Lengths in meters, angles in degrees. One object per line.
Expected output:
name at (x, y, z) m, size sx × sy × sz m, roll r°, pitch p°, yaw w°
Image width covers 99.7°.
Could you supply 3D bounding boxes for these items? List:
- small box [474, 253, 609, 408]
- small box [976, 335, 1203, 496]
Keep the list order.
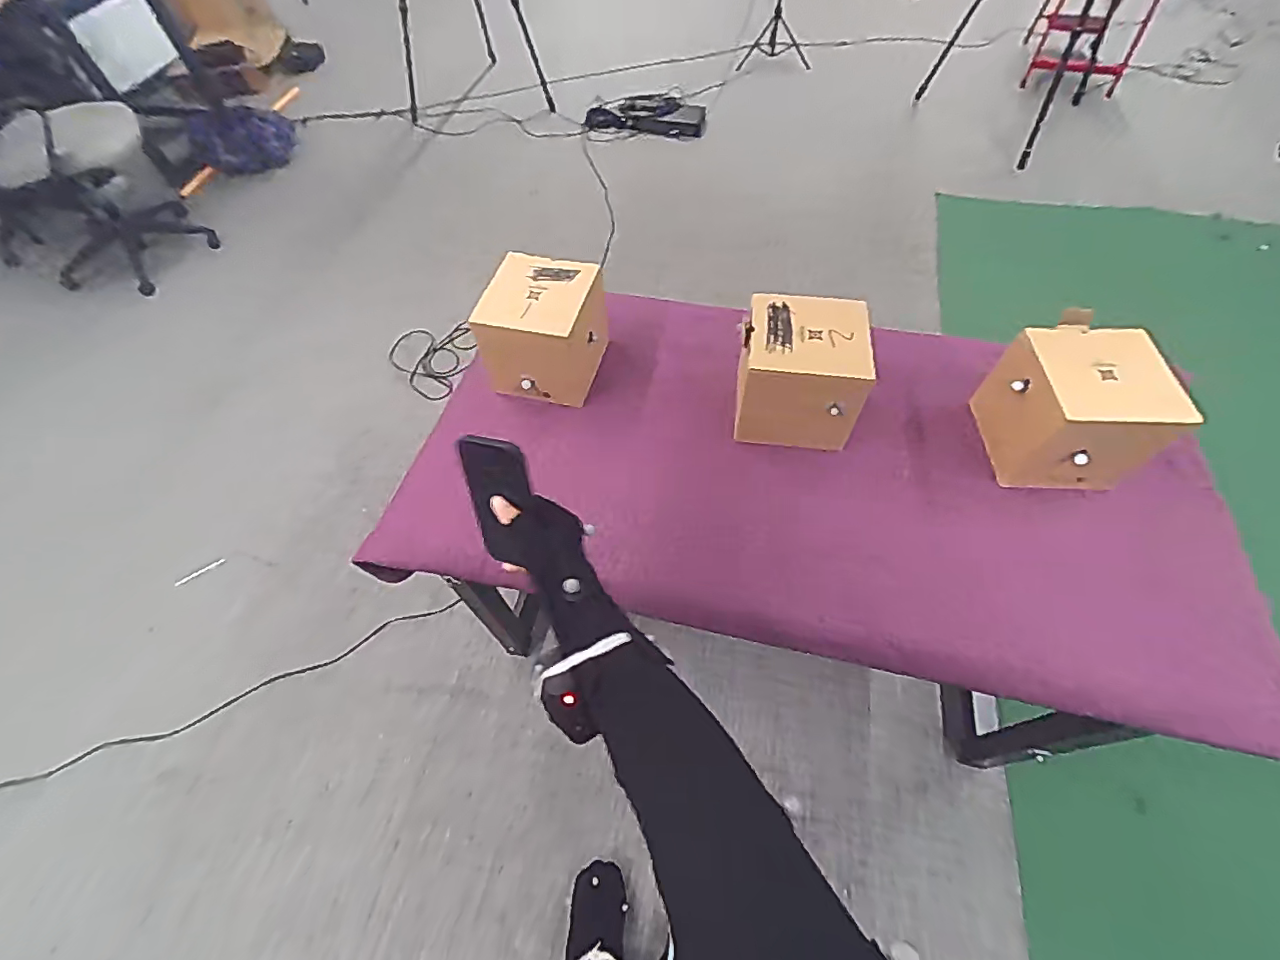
small box at (-0.154, -0.252, 0.923) m, size 0.168 × 0.176 × 0.179 m, roll 12°, pitch 60°, yaw 10°
small box at (0.633, -0.091, 0.793) m, size 0.168 × 0.176 × 0.179 m, roll 2°, pitch 56°, yaw 4°
